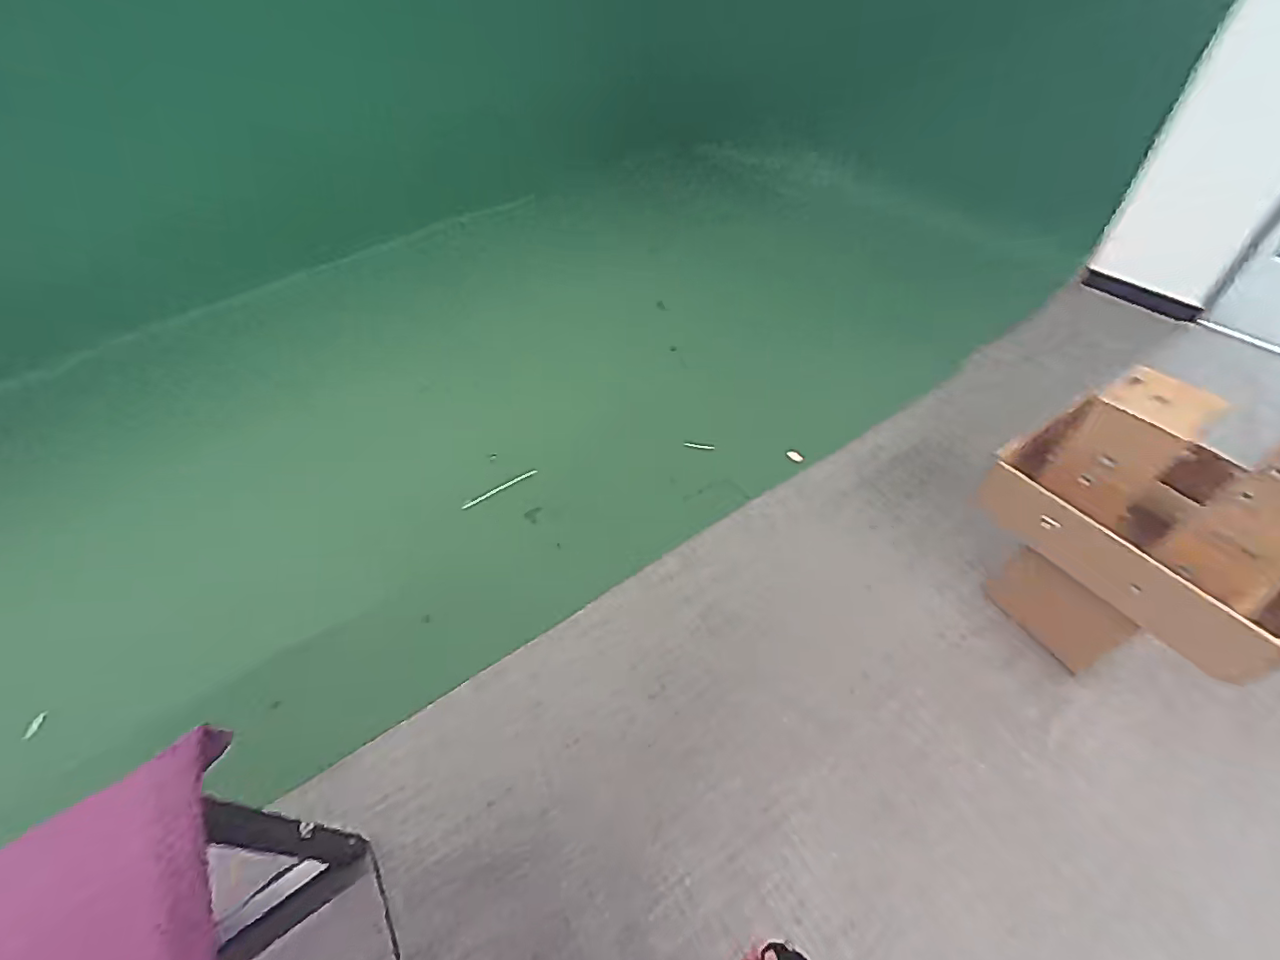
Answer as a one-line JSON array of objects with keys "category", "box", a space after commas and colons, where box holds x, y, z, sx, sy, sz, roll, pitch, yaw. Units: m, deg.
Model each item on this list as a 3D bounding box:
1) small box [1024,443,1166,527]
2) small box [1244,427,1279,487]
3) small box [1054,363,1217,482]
[{"category": "small box", "box": [1.100, -0.017, 1.325, 0.168, 0.176, 0.179, -30, 55, -17]}, {"category": "small box", "box": [1.213, -0.063, 0.921, 0.179, 0.176, 0.168, -28, 53, -17]}, {"category": "small box", "box": [1.083, -0.119, 1.198, 0.168, 0.176, 0.179, -31, 54, -18]}]
